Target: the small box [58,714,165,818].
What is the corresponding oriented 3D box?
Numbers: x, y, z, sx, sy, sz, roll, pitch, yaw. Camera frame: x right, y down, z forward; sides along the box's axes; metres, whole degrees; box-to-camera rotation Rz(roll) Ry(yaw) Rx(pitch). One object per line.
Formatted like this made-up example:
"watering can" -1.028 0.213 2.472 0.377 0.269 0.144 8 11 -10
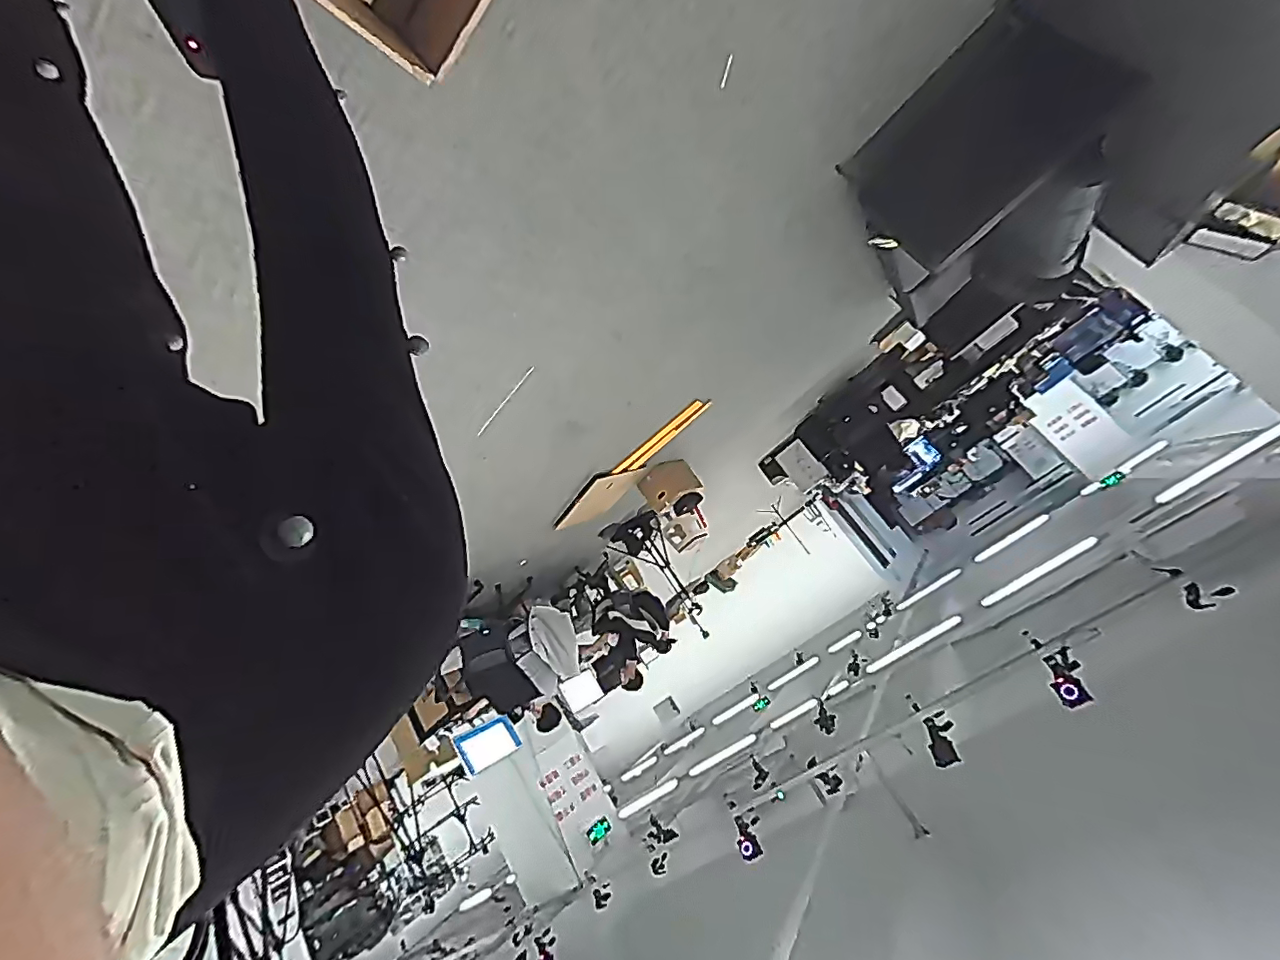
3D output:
"small box" -1.456 0.778 1.486 0.179 0.176 0.168 -43 160 23
